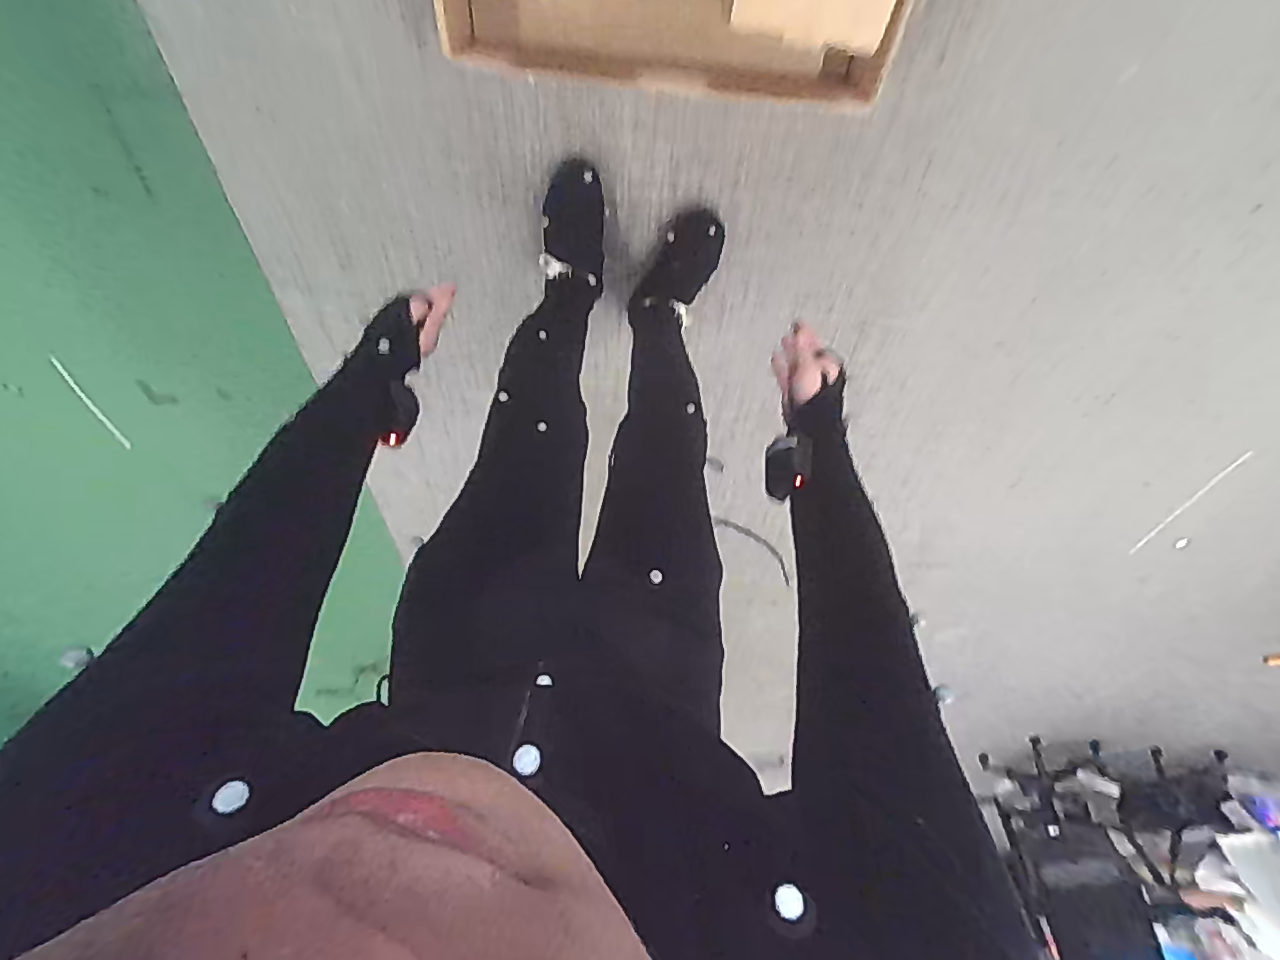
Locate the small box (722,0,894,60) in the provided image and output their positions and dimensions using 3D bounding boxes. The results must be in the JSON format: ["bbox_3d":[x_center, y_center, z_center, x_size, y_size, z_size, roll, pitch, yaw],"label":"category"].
[{"bbox_3d":[0.187,-0.581,0.570,0.168,0.176,0.179,6,137,-6],"label":"small box"}]
